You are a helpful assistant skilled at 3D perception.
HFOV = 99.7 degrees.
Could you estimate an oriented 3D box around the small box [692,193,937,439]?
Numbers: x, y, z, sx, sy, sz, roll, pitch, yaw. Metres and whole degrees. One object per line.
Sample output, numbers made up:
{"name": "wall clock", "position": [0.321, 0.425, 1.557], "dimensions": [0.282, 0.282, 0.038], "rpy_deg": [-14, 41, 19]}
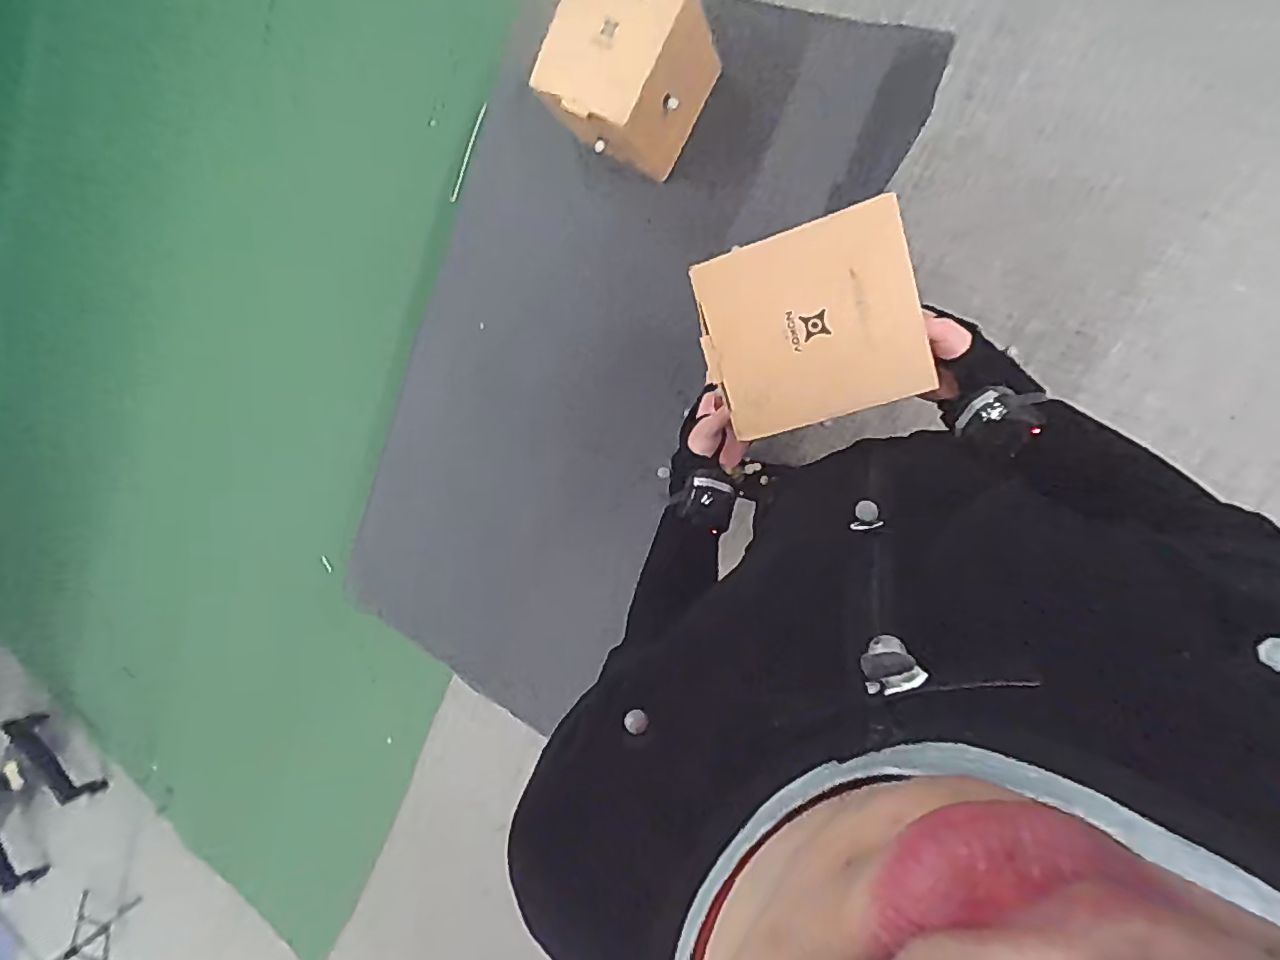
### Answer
{"name": "small box", "position": [0.166, -0.153, 0.542], "dimensions": [0.179, 0.176, 0.168], "rpy_deg": [-16, 101, 15]}

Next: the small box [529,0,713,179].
{"name": "small box", "position": [-0.017, -0.563, 0.758], "dimensions": [0.168, 0.176, 0.179], "rpy_deg": [34, 106, 14]}
